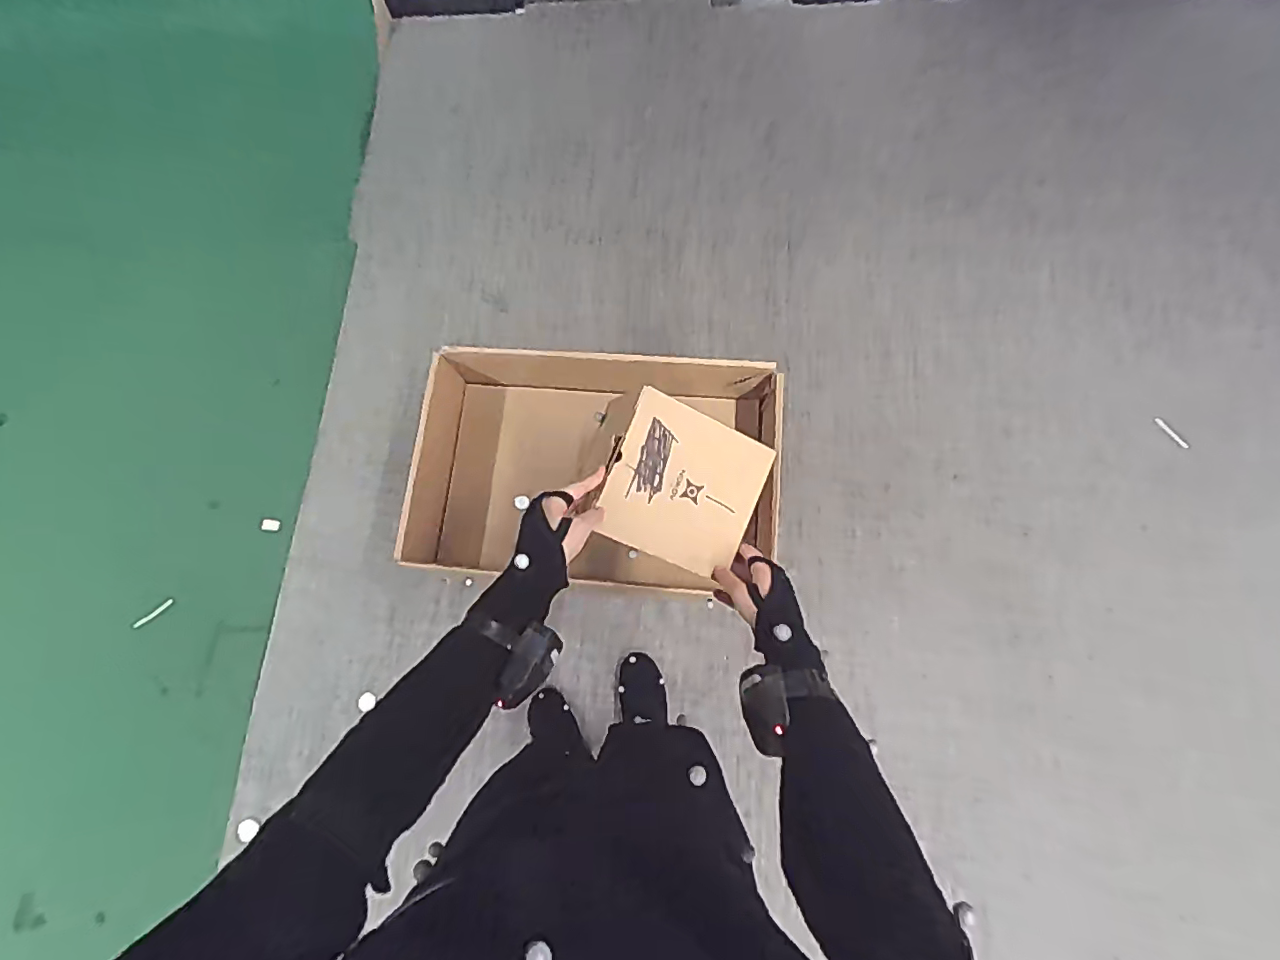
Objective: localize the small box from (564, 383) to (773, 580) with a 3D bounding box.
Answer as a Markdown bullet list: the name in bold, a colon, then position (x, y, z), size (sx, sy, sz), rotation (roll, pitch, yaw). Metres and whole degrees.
- **small box**: position (0.022, 0.004, 0.660), size (0.179, 0.176, 0.168), rotation (25, 84, -16)
